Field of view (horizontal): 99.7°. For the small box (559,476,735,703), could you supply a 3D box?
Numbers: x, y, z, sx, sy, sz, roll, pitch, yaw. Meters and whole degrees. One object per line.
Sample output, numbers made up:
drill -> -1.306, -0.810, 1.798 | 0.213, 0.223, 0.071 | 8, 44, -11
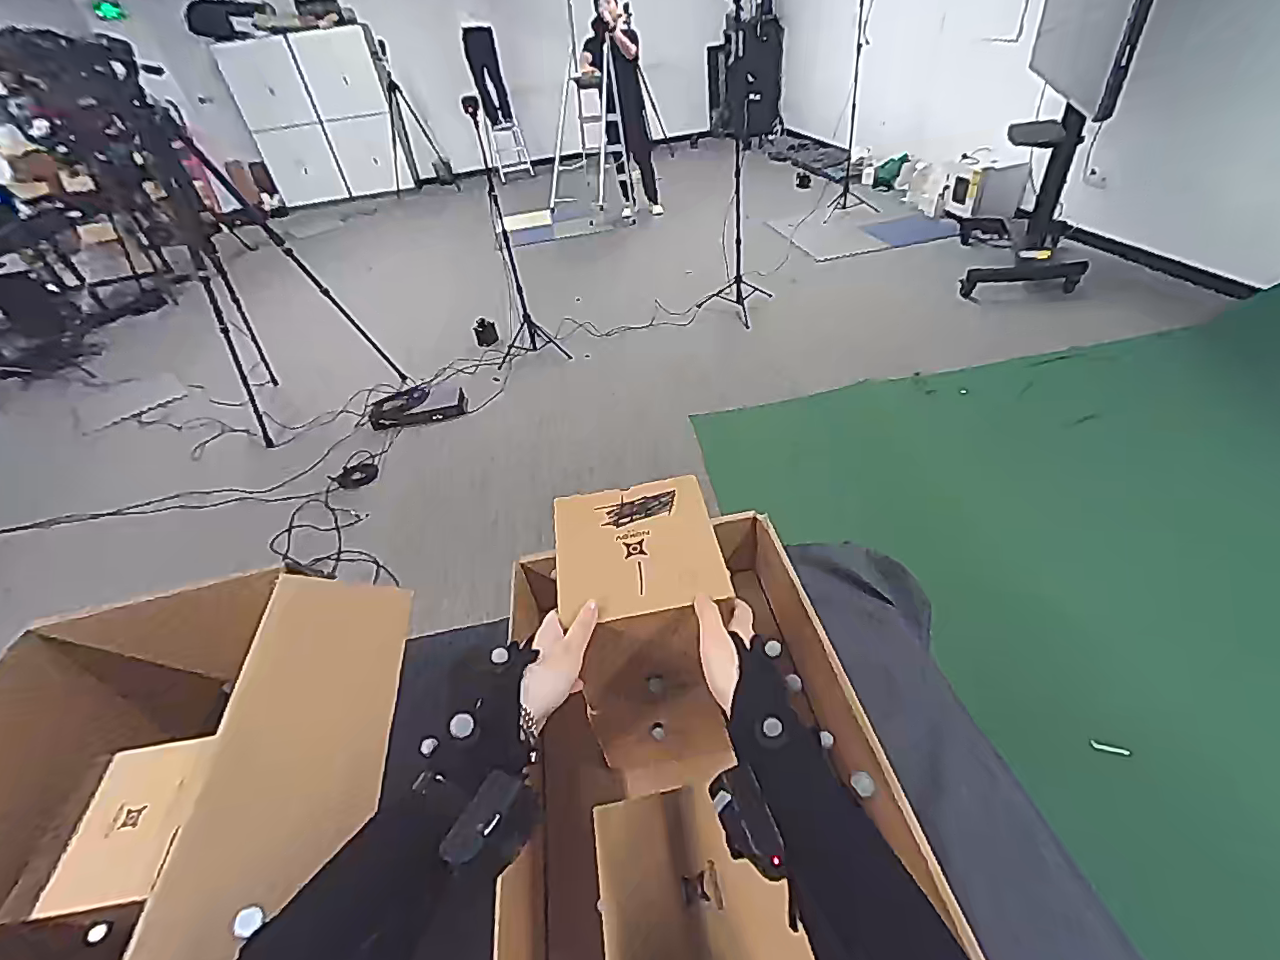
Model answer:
small box -> 0.005, 0.123, 0.614 | 0.168, 0.176, 0.179 | -10, 44, -1

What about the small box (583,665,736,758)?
small box -> 0.023, 0.247, 0.721 | 0.179, 0.176, 0.168 | -11, 43, -2
